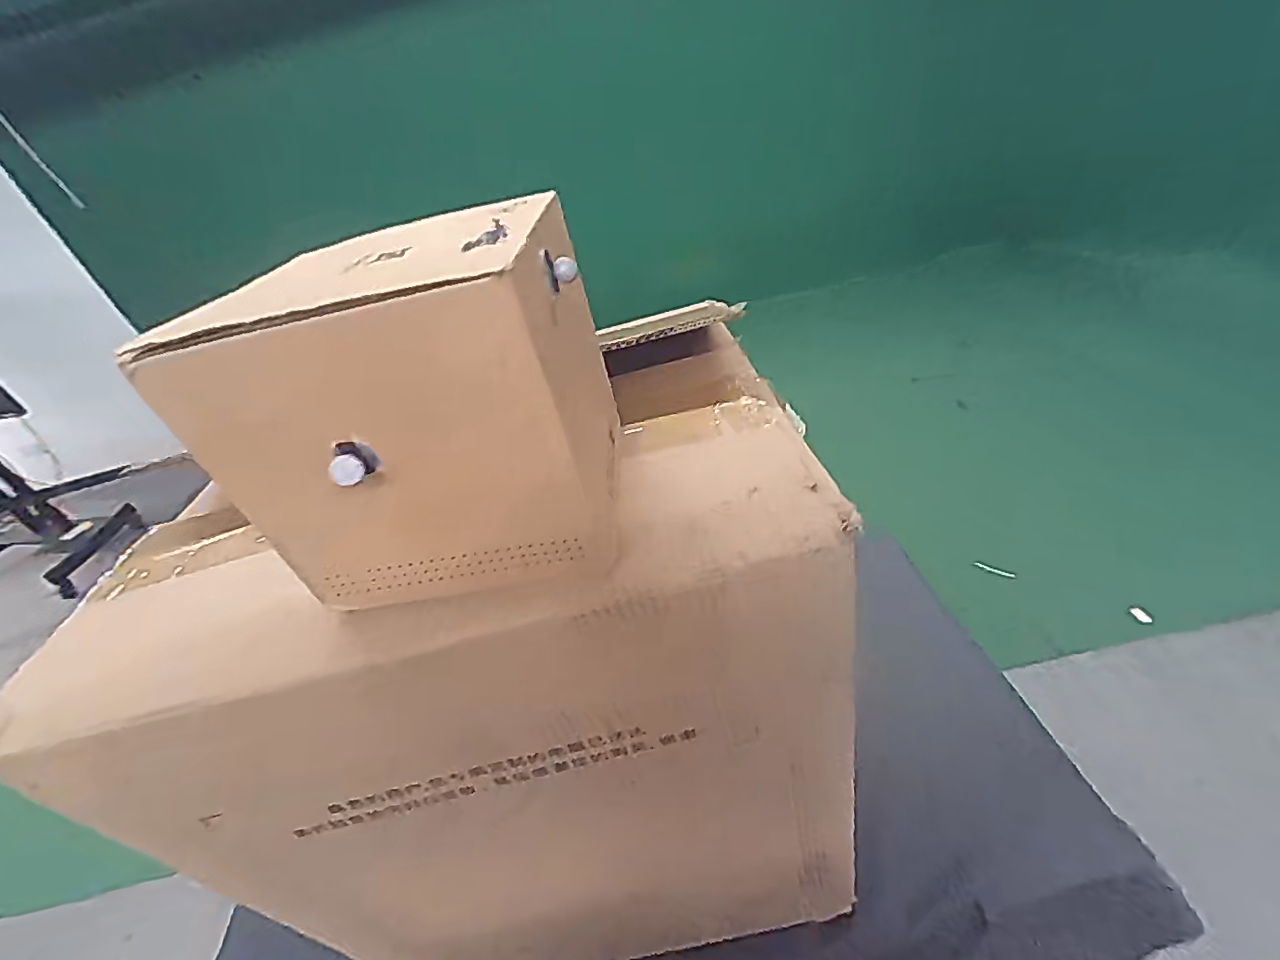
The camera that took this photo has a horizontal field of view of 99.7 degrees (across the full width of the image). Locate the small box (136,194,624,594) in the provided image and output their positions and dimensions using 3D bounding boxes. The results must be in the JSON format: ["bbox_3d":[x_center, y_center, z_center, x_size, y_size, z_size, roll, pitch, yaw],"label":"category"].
[{"bbox_3d":[-0.116,-0.050,0.329,0.179,0.176,0.168,-10,37,7],"label":"small box"}]
